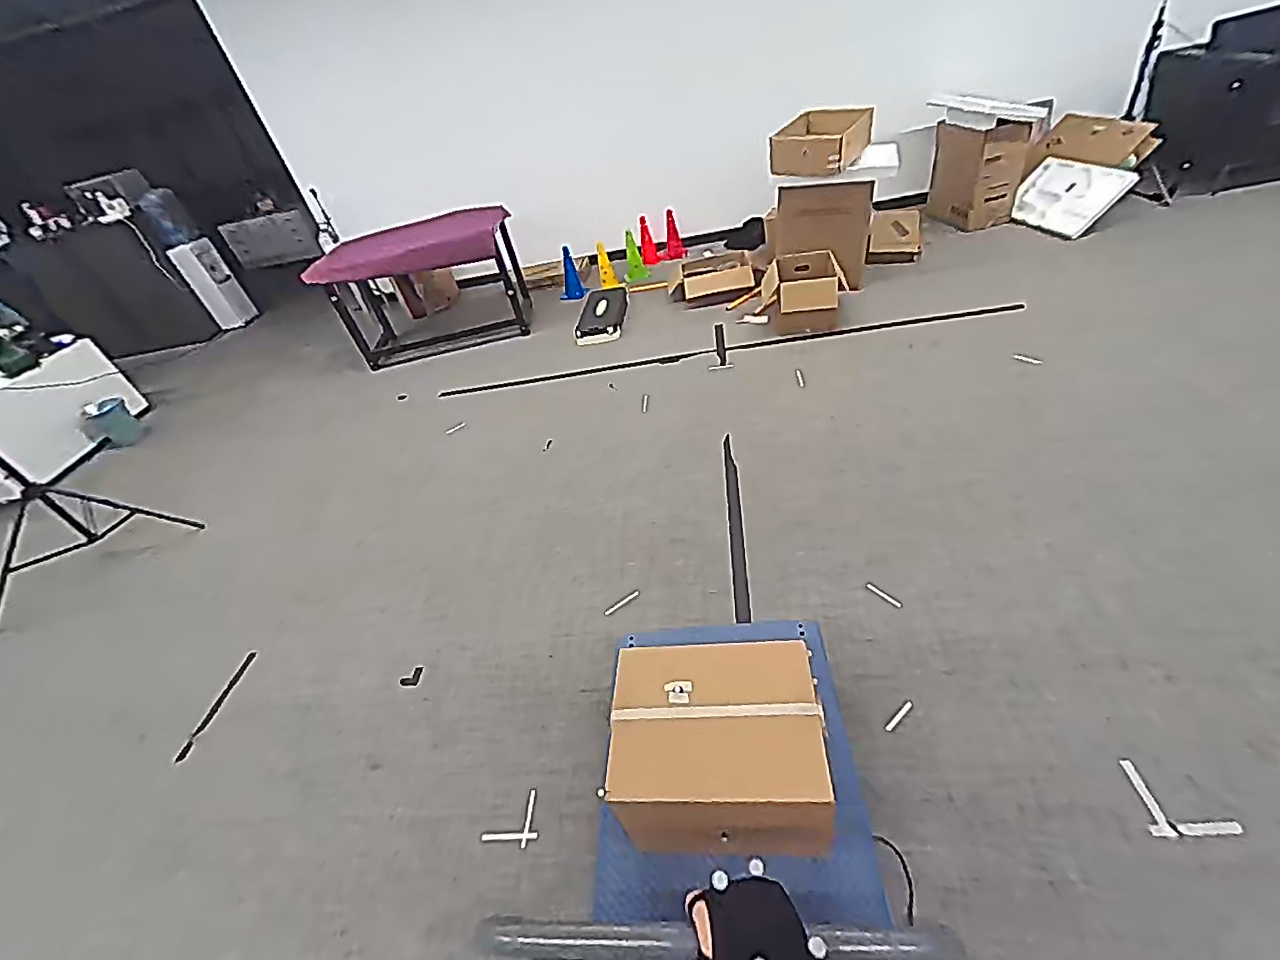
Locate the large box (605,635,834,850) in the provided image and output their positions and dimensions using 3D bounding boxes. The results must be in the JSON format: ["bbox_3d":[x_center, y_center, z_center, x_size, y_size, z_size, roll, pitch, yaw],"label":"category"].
[{"bbox_3d":[0.169,0.560,1.143,0.408,0.320,0.320,-7,39,11],"label":"large box"}]
